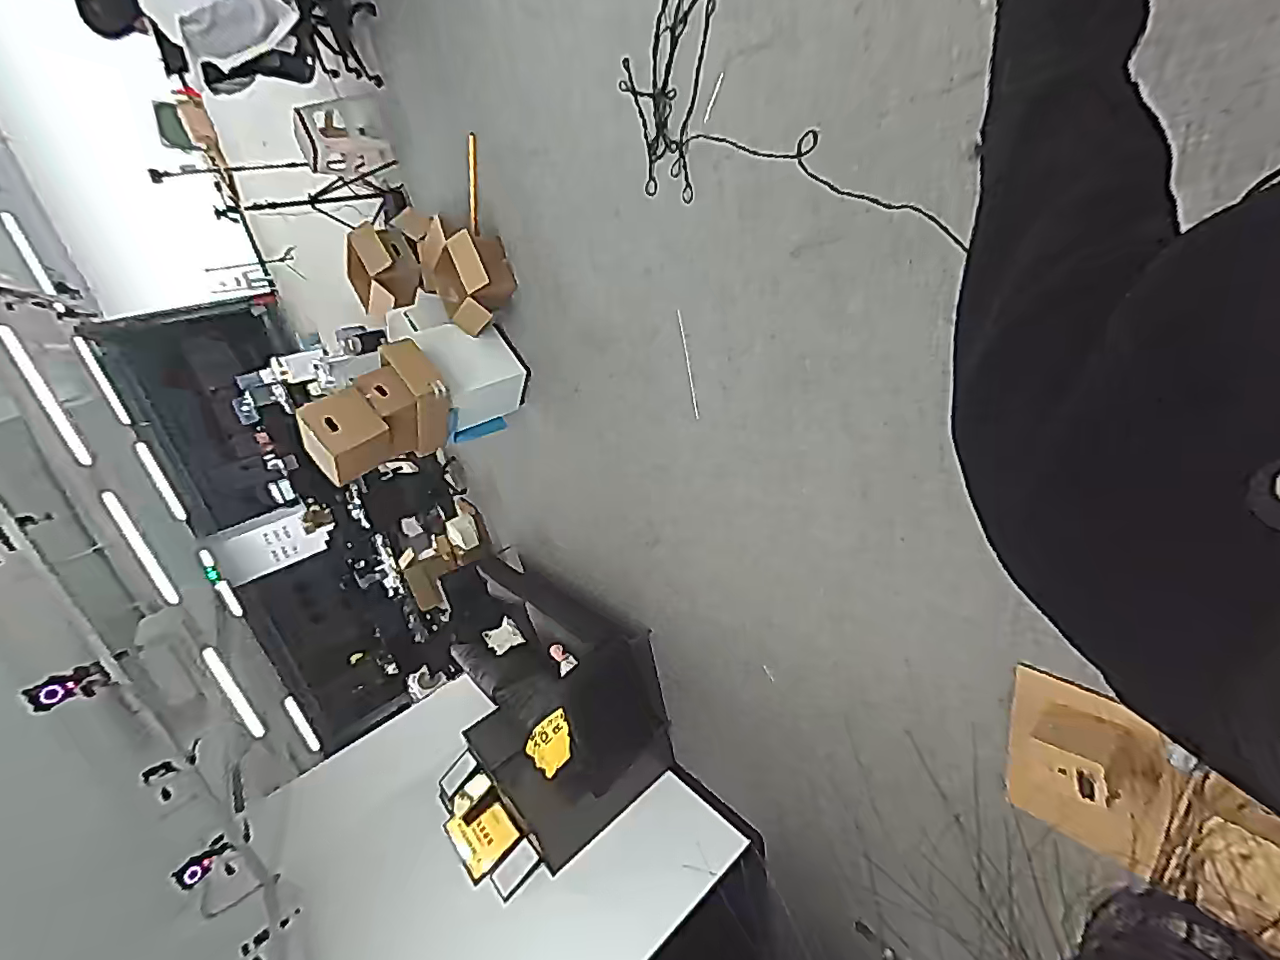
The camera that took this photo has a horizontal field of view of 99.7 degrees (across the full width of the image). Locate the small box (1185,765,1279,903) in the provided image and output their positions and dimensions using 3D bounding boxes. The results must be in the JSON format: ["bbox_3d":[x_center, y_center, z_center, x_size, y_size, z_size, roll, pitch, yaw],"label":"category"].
[{"bbox_3d":[1.425,0.813,1.259,0.168,0.176,0.179,24,131,47],"label":"small box"}]
